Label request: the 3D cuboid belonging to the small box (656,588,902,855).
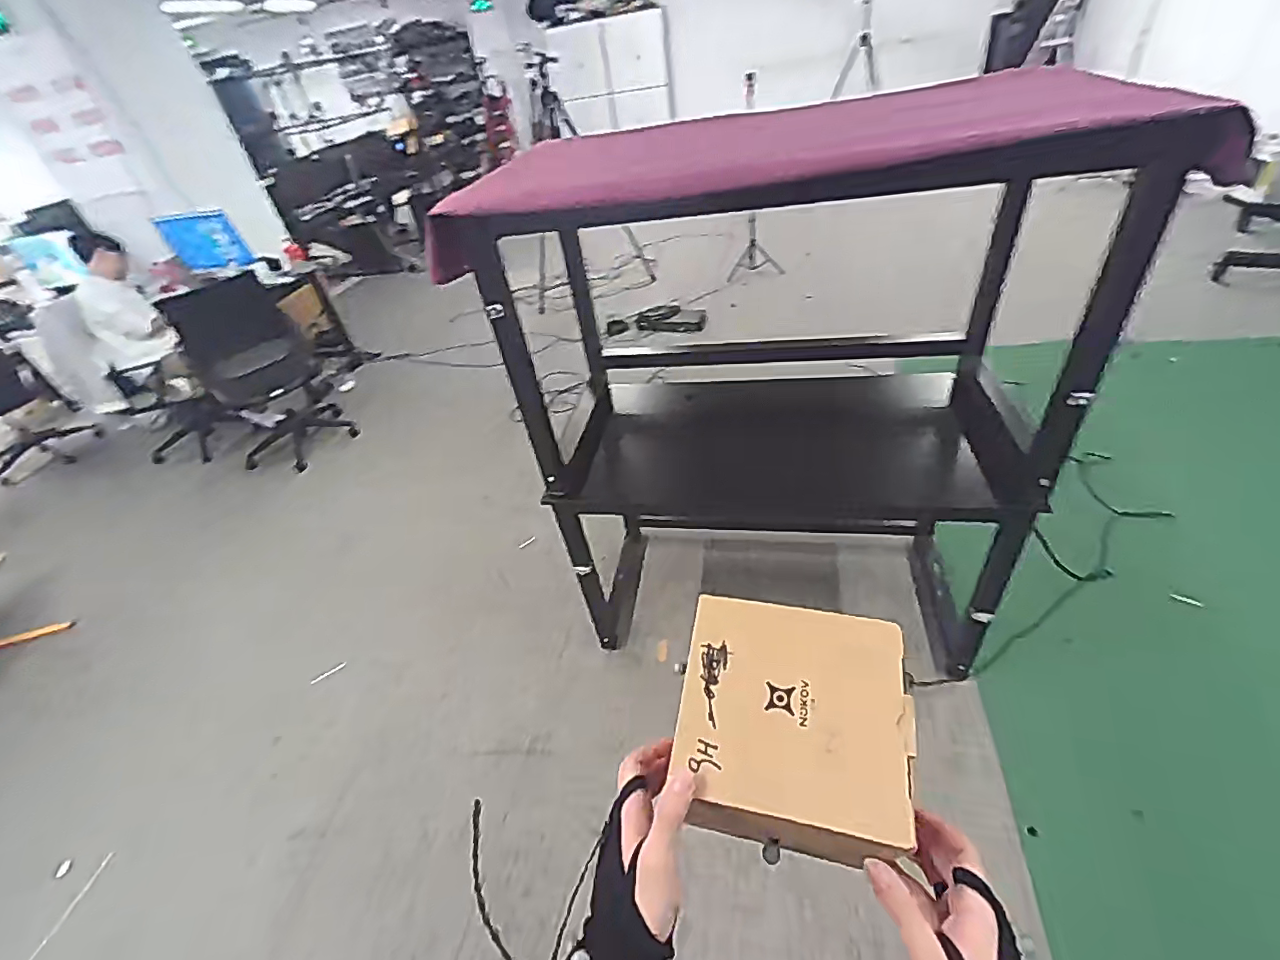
[{"bbox_3d":[0.122,0.223,0.495,0.179,0.176,0.168,7,52,13],"label":"small box"}]
